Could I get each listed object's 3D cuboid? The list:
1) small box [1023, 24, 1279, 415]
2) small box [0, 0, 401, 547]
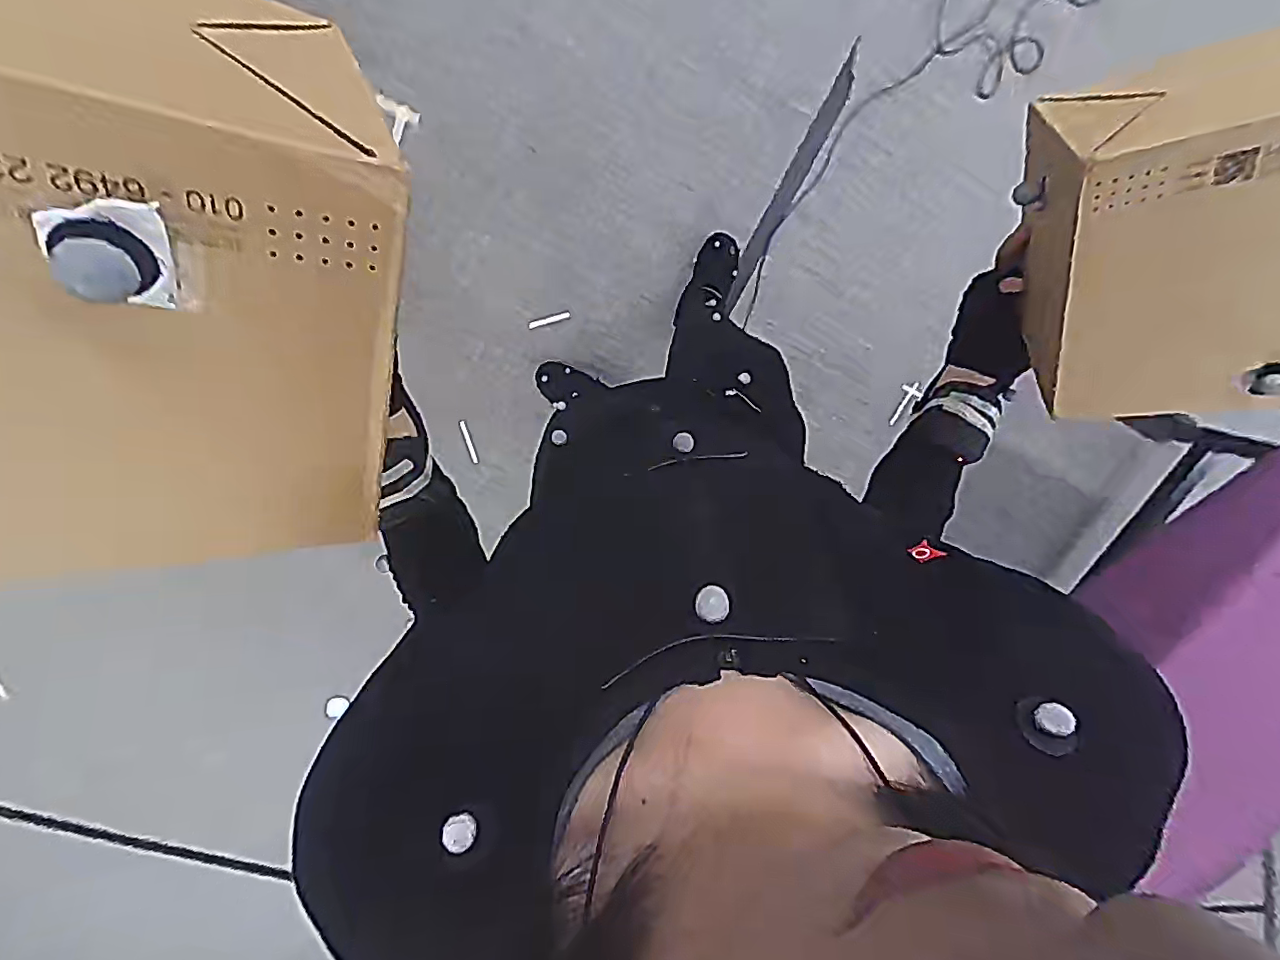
[{"bbox_3d":[0.357,-0.163,0.338,0.168,0.179,0.176,-2,130,28],"label":"small box"},{"bbox_3d":[-0.193,-0.097,0.201,0.168,0.179,0.176,-4,136,-33],"label":"small box"}]
